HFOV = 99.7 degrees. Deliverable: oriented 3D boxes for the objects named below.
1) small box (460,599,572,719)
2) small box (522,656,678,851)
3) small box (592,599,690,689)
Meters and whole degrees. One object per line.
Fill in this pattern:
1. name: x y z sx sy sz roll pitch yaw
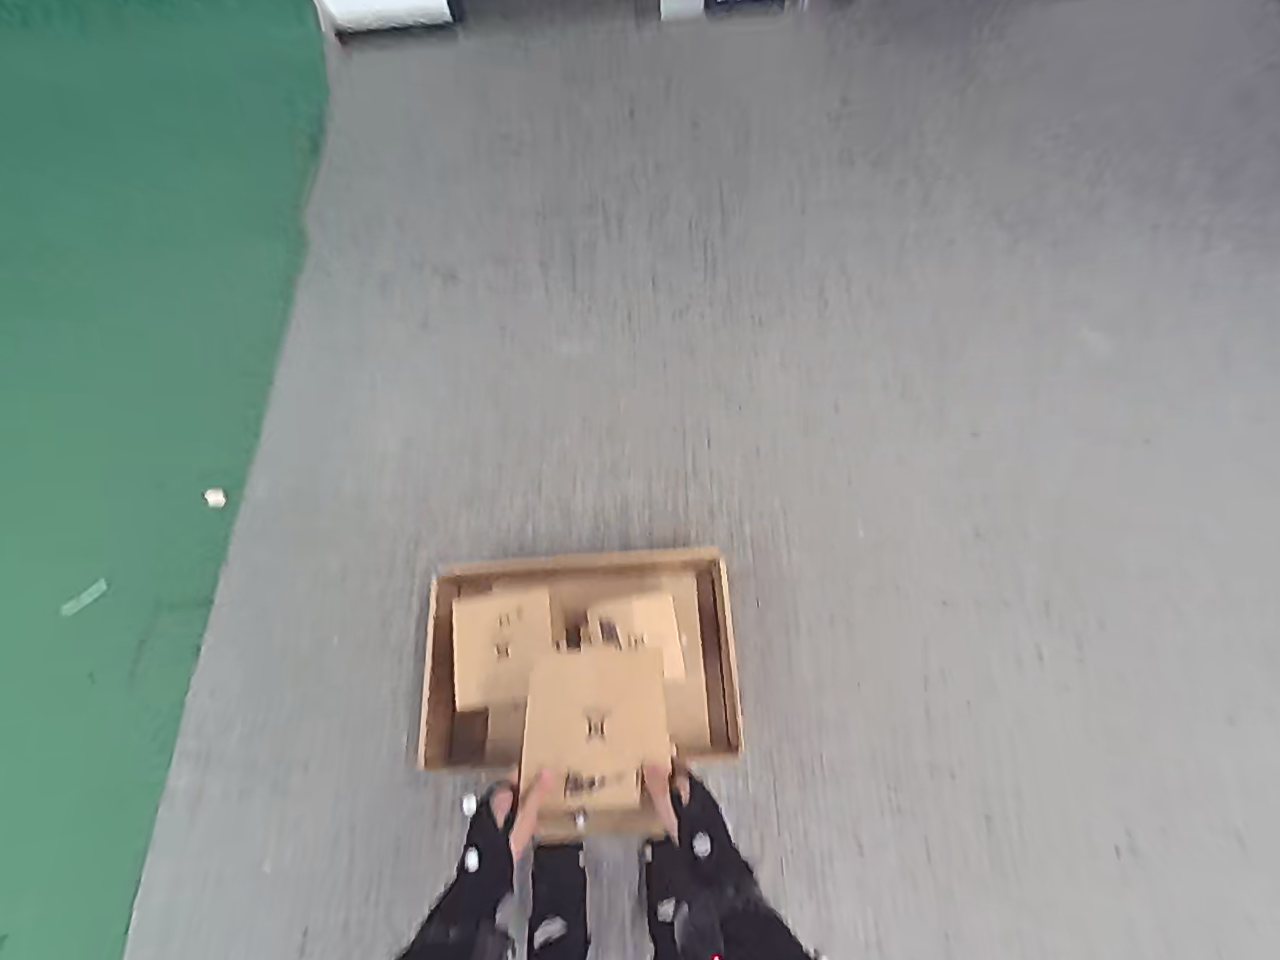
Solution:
1. small box: -0.216 0.322 0.981 0.168 0.176 0.179 -8 70 -1
2. small box: -0.045 0.342 0.677 0.168 0.176 0.179 -2 46 -1
3. small box: 0.007 0.355 1.126 0.179 0.176 0.168 -10 69 1
